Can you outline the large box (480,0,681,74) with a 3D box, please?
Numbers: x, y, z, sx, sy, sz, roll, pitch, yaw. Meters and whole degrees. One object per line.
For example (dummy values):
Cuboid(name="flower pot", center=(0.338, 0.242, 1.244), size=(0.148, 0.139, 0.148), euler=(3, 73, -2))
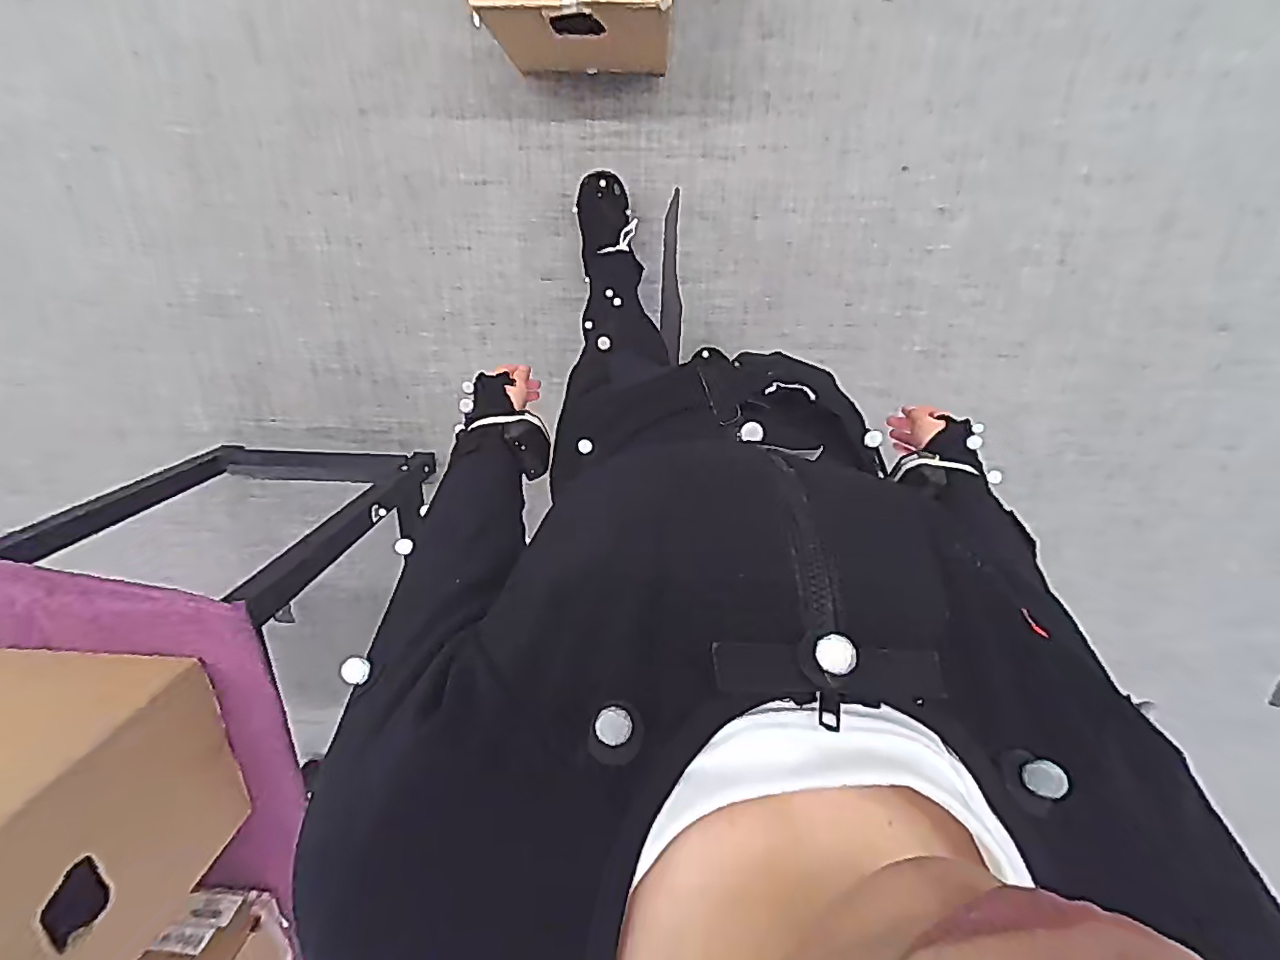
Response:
Cuboid(name="large box", center=(-0.089, -0.953, 0.884), size=(0.320, 0.320, 0.408), euler=(1, 112, 3))
